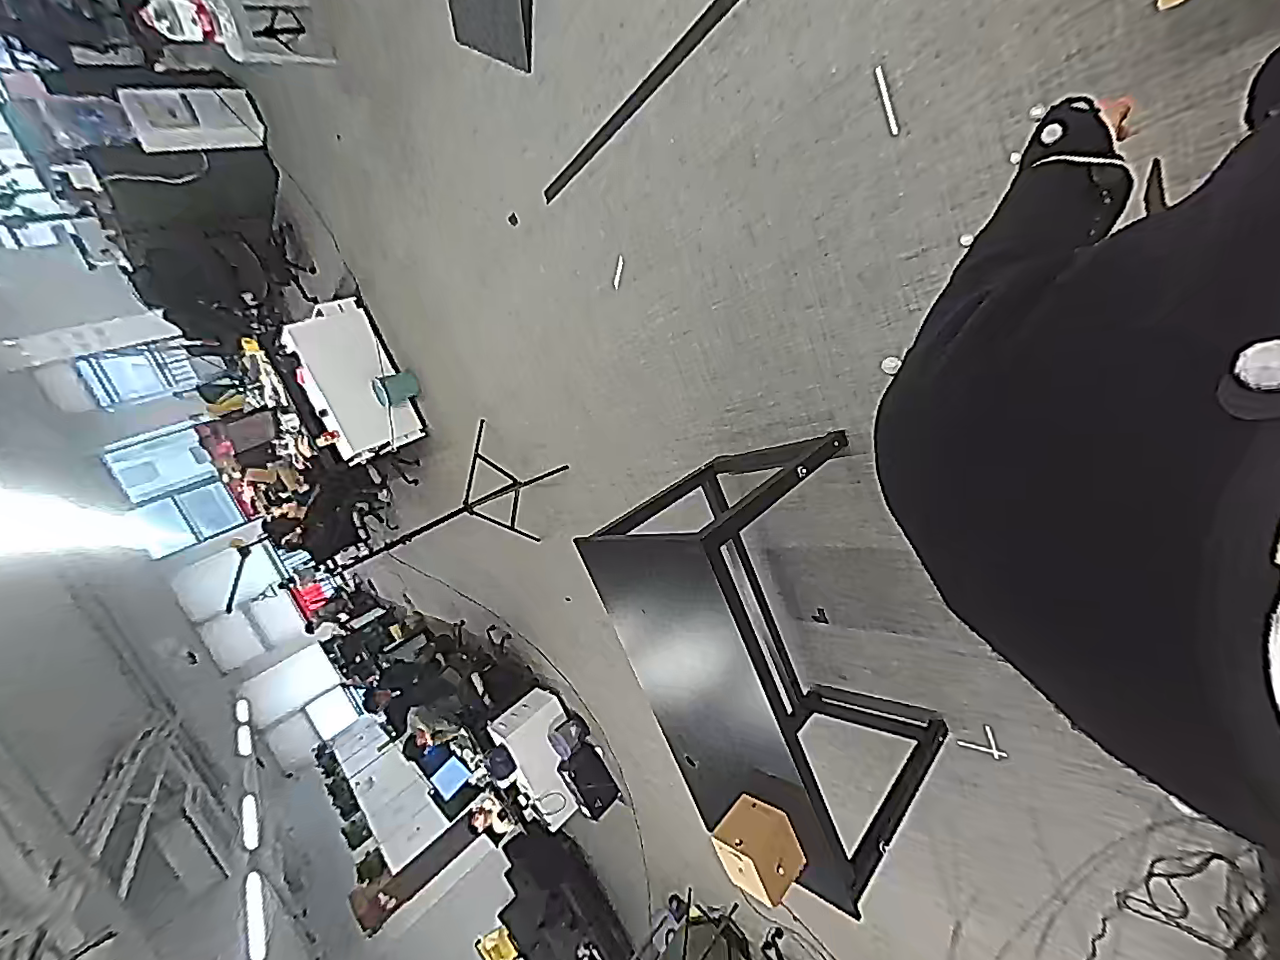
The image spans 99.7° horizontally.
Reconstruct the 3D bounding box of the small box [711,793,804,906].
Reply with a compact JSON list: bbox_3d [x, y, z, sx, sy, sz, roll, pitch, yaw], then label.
[{"bbox_3d":[0.345,1.058,1.563,0.168,0.176,0.179,-12,106,54],"label":"small box"}]
